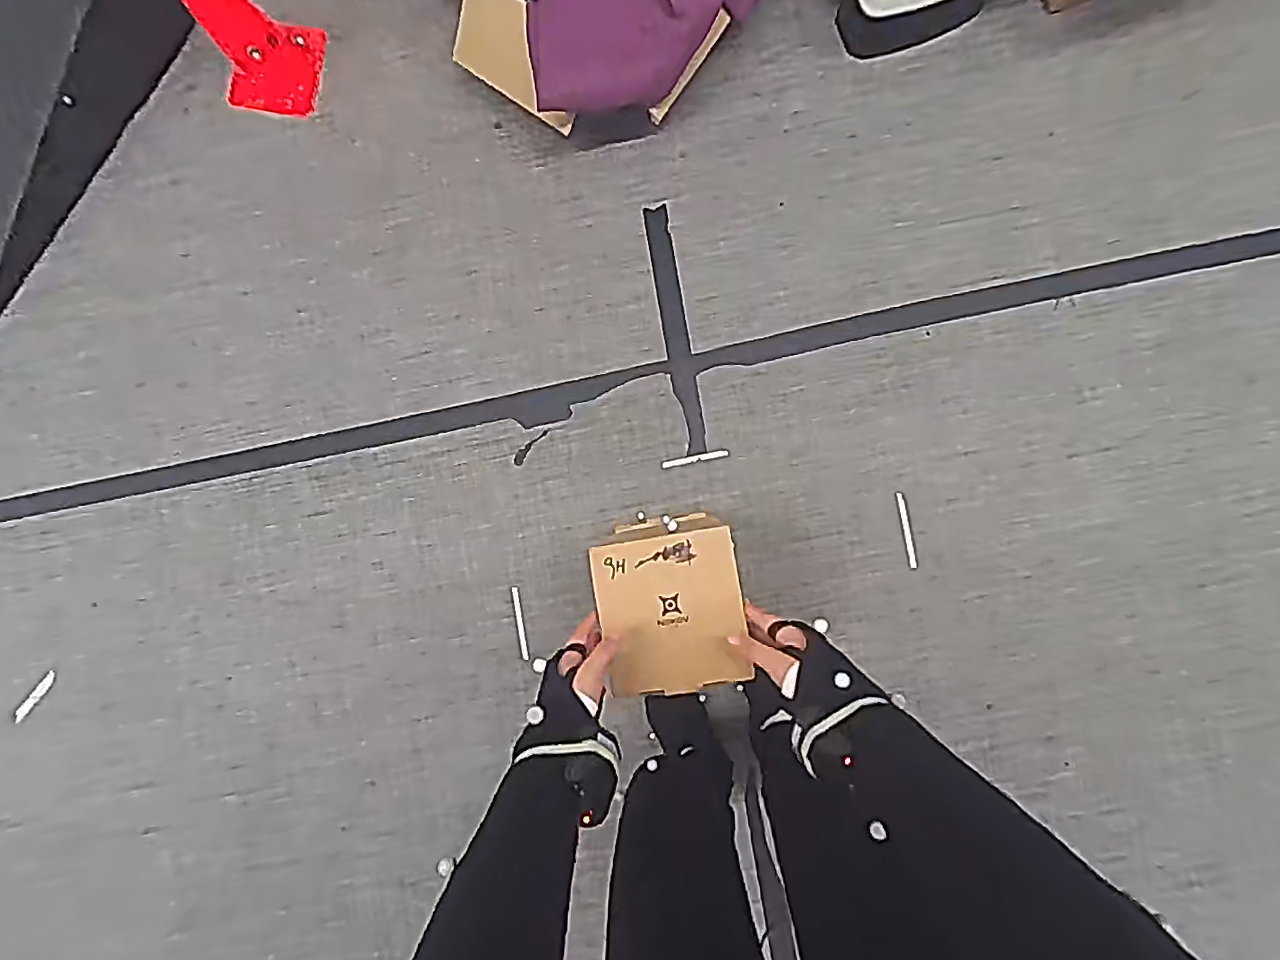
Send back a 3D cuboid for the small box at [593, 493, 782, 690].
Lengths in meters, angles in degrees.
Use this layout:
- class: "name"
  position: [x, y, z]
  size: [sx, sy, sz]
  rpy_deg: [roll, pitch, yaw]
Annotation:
- class: "small box"
  position: [0.053, 0.112, 0.610]
  size: [0.168, 0.176, 0.179]
  rpy_deg: [-10, 87, 4]
